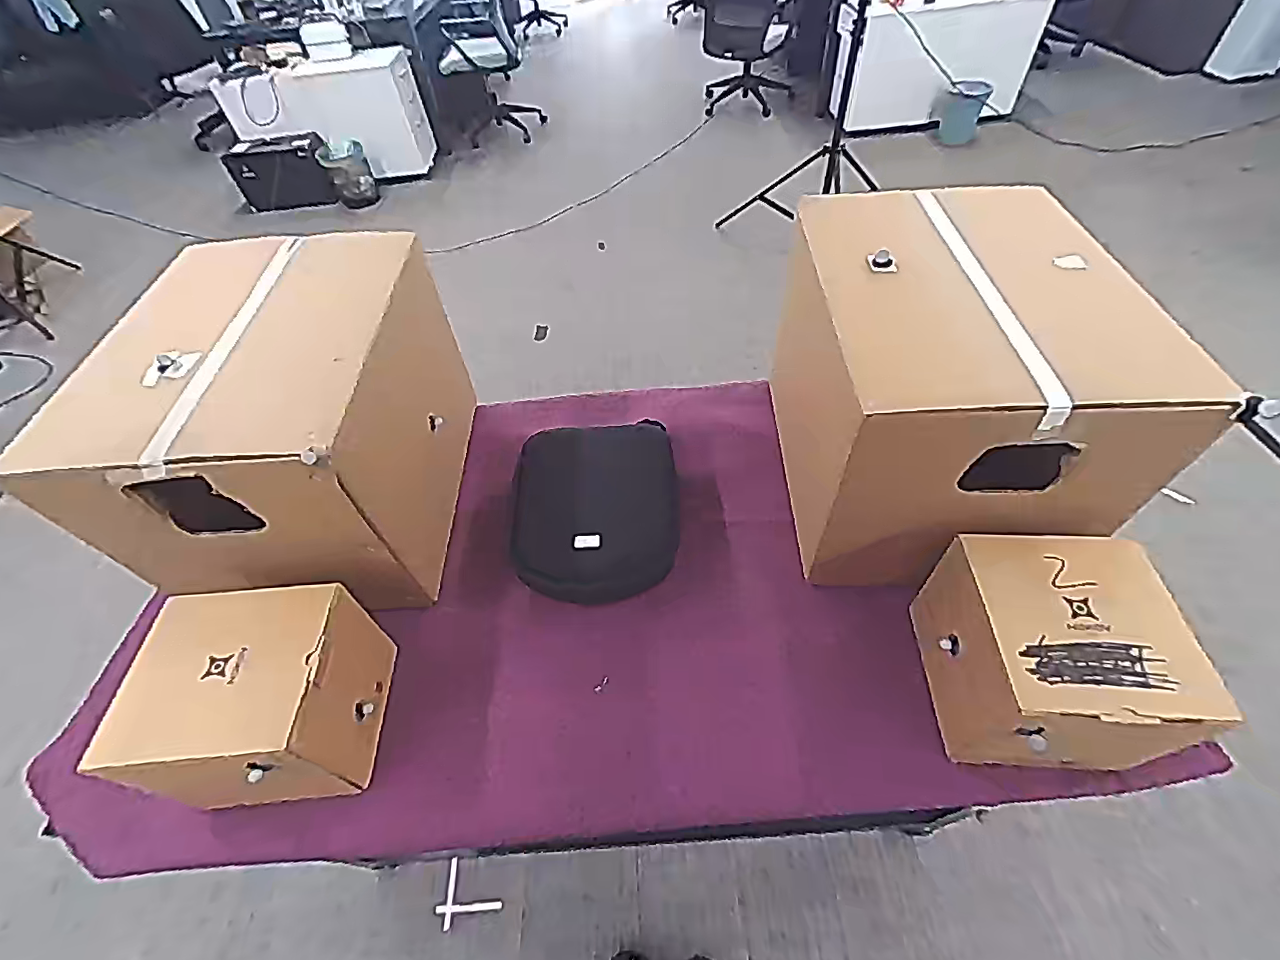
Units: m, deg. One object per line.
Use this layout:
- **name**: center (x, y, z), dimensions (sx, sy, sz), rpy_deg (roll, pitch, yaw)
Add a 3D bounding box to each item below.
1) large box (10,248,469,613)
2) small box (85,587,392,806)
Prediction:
- **large box**: center (-0.442, -0.061, 0.737), dimensions (0.320, 0.320, 0.408), rpy_deg (-5, 53, 0)
- **small box**: center (-0.397, 0.235, 0.579), dimensions (0.179, 0.176, 0.168), rpy_deg (-5, 49, -3)
